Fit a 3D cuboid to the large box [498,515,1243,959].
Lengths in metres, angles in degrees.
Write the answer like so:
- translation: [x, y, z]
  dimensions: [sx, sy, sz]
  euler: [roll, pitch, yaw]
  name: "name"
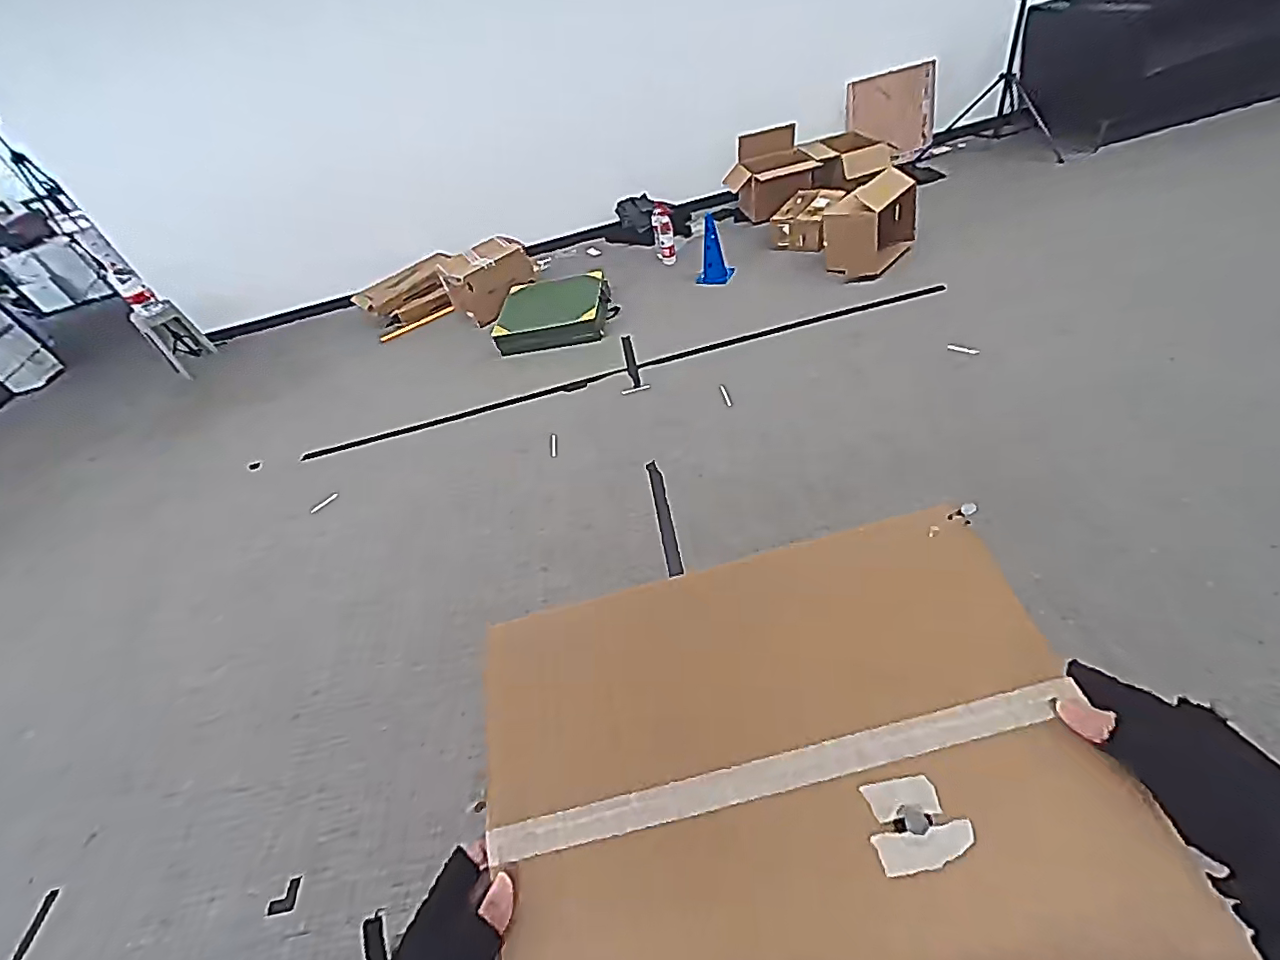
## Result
- translation: [0.124, 0.288, 0.492]
  dimensions: [0.408, 0.320, 0.320]
  euler: [-16, 53, 1]
  name: "large box"
